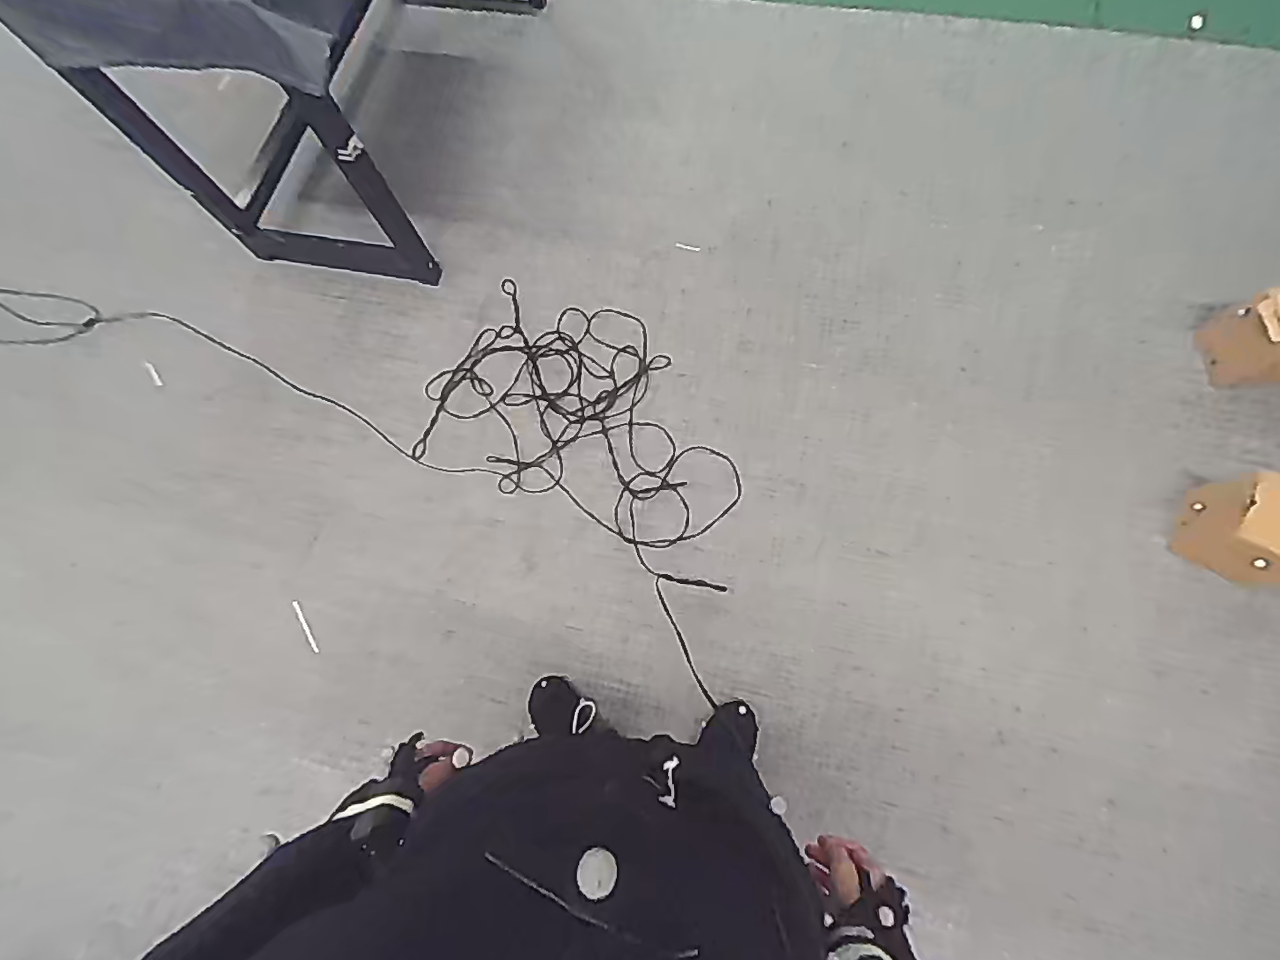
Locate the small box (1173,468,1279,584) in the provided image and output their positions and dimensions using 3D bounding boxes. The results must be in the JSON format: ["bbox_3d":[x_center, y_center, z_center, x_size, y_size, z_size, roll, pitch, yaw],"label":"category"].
[{"bbox_3d":[1.293,0.104,1.125,0.179,0.176,0.168,29,78,12],"label":"small box"}]
